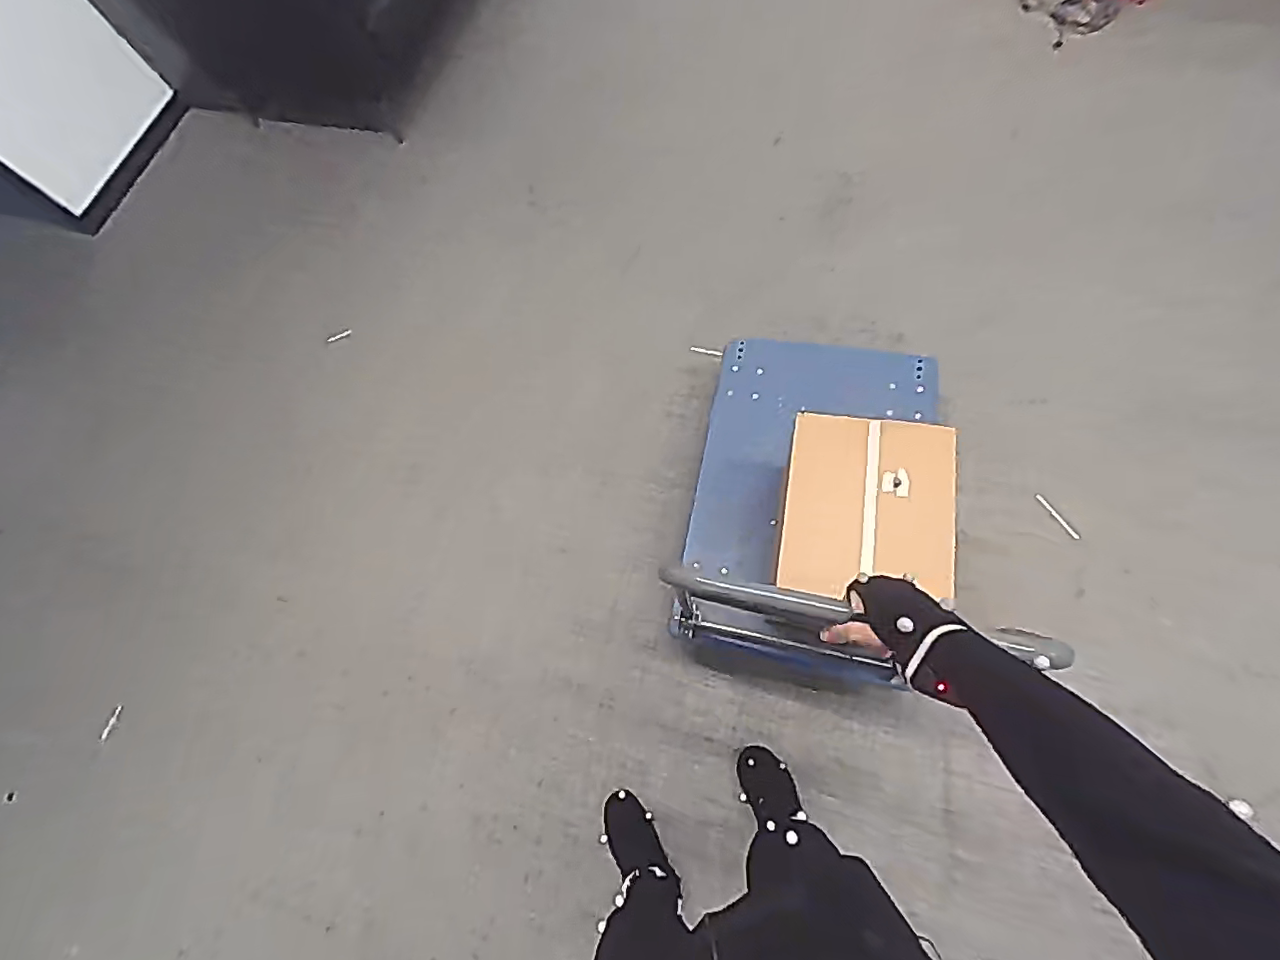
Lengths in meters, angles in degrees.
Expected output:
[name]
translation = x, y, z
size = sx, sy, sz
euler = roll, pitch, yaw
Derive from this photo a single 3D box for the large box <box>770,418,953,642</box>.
[large box]
translation = 0.468, 0.121, 1.197
size = 0.320, 0.320, 0.408
euler = 8, 70, 11
